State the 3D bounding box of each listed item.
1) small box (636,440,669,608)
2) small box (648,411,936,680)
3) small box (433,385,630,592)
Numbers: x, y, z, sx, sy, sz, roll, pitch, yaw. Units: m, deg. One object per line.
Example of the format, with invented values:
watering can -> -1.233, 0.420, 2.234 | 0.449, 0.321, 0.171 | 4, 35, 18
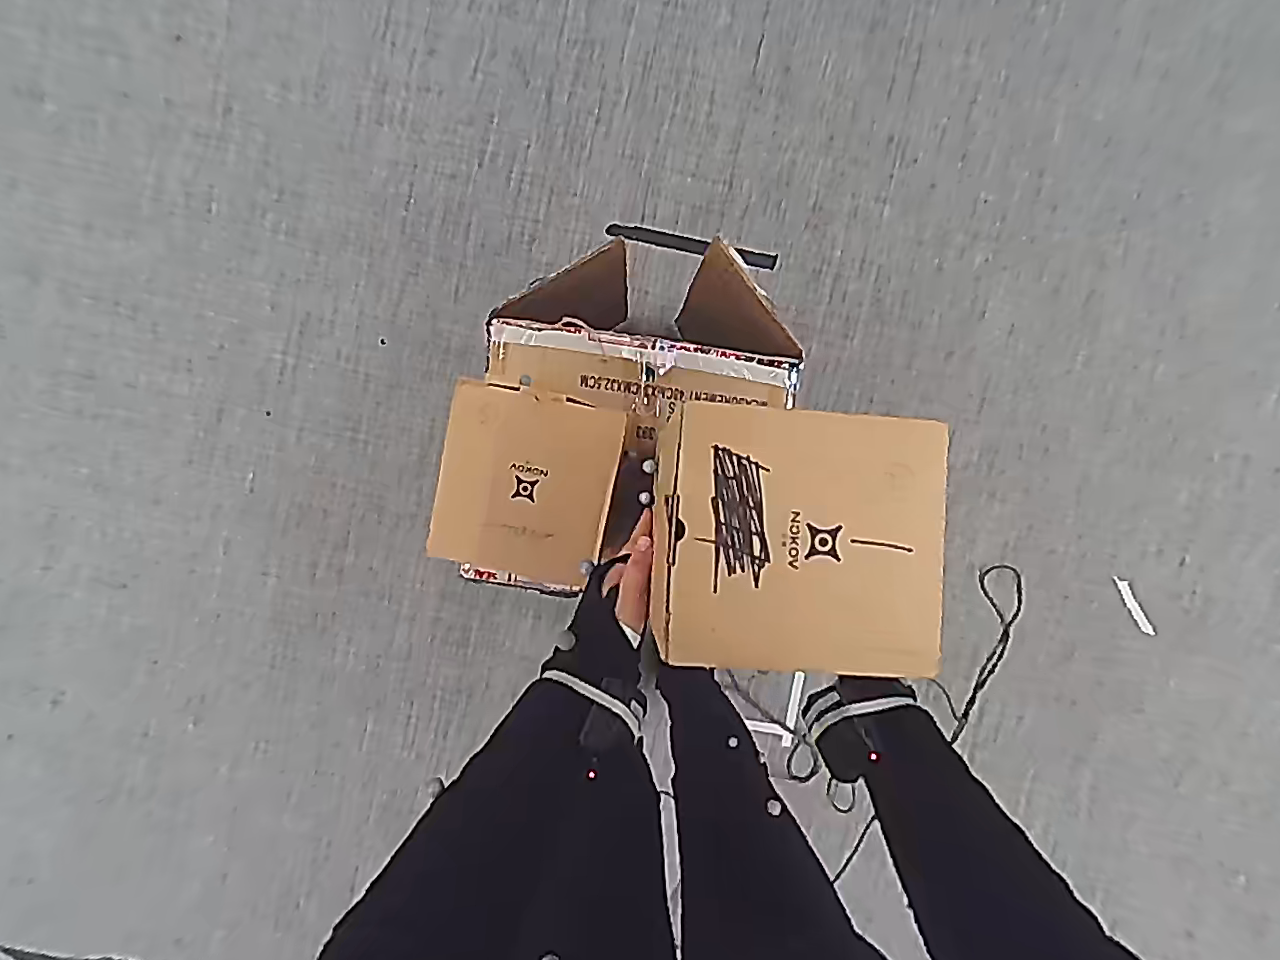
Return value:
small box -> 0.094, 0.051, 0.595 | 0.179, 0.176, 0.168 | 4, 86, -4
small box -> 0.101, 0.047, 0.430 | 0.179, 0.176, 0.168 | 4, 87, -3
small box -> -0.106, 0.001, 0.599 | 0.168, 0.176, 0.179 | 11, 97, 0
